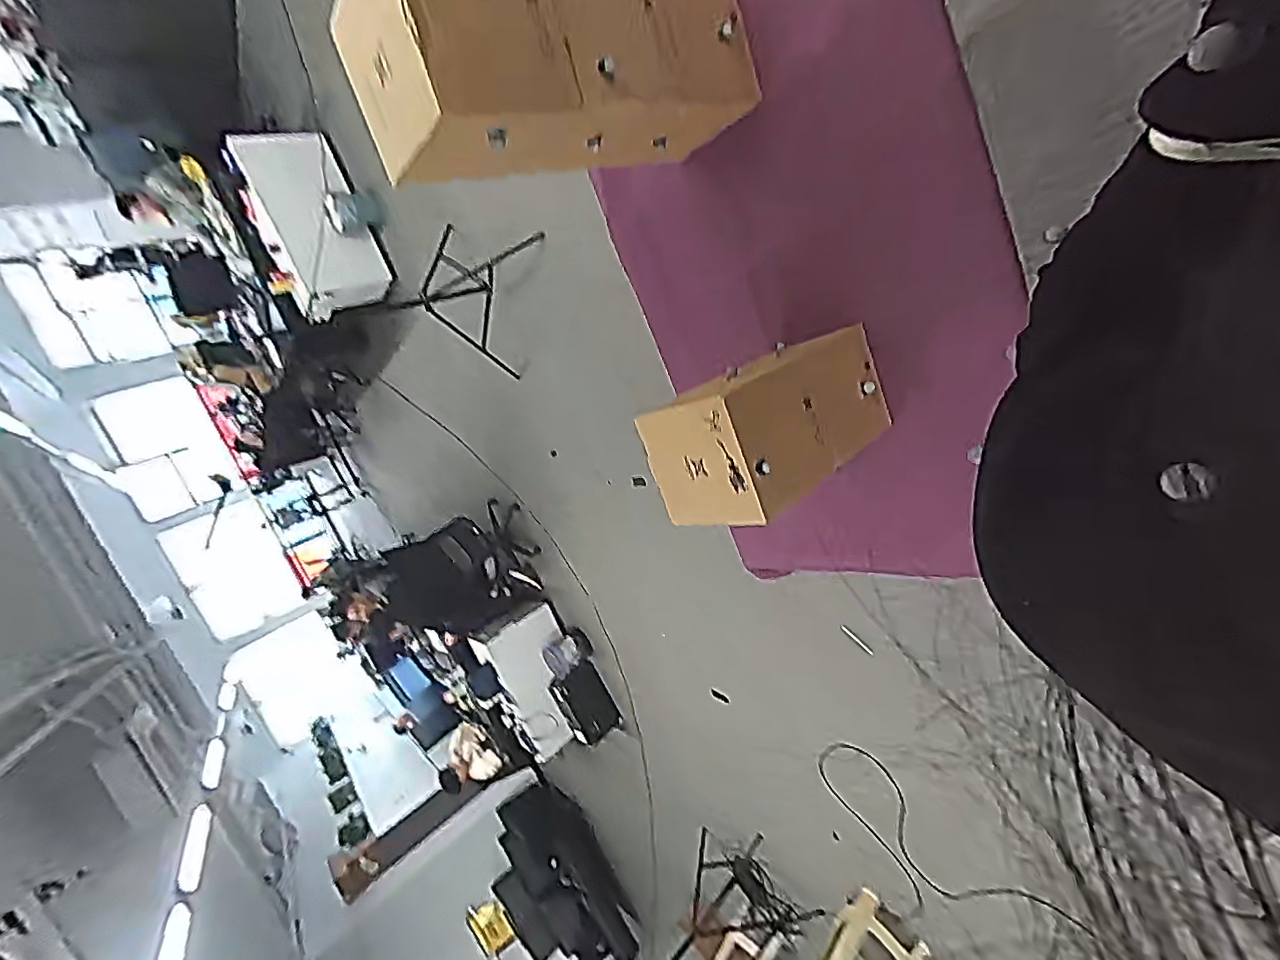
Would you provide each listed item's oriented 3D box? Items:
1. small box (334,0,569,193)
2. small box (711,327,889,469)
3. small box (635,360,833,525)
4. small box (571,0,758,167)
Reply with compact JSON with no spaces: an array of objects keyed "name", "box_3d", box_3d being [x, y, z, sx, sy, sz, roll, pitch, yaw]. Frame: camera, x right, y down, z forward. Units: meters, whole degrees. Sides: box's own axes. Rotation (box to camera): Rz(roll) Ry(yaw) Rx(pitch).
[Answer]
[{"name":"small box","box_3d":[-0.195,-0.437,0.584,0.179,0.176,0.168,3,115,53]},{"name":"small box","box_3d":[0.247,-0.118,0.832,0.179,0.176,0.168,-8,108,53]},{"name":"small box","box_3d":[0.129,-0.049,0.741,0.179,0.176,0.168,-5,110,54]},{"name":"small box","box_3d":[0.036,-0.575,0.770,0.179,0.176,0.168,-1,114,53]}]
